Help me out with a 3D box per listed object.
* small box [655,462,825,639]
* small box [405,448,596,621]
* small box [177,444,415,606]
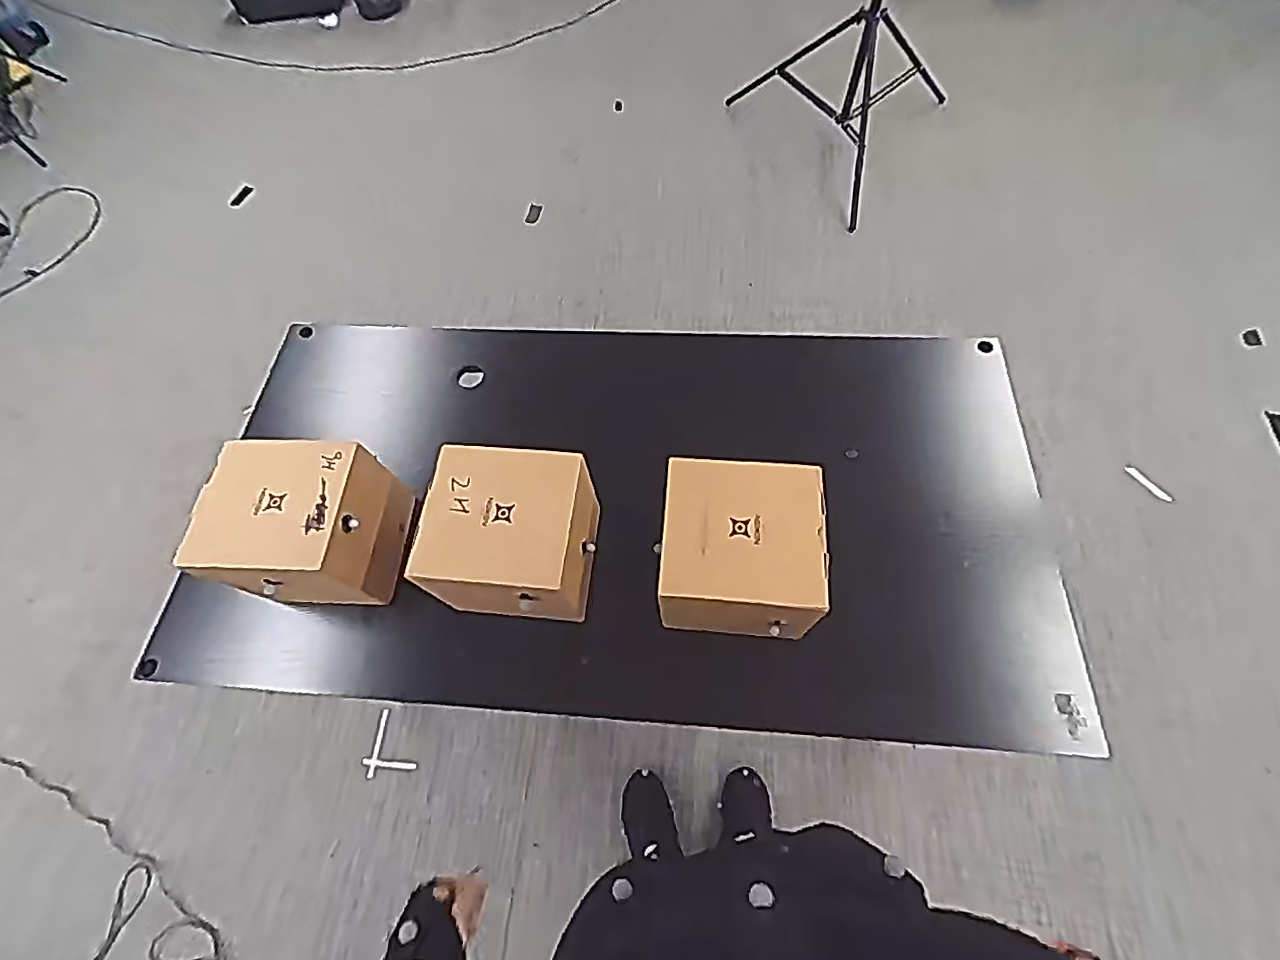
[{"bbox_3d":[0.115,0.093,0.660,0.179,0.176,0.168,2,63,7],"label":"small box"},{"bbox_3d":[-0.158,0.076,0.684,0.179,0.176,0.168,4,64,6],"label":"small box"},{"bbox_3d":[-0.430,0.065,0.710,0.179,0.176,0.168,0,64,4],"label":"small box"}]
